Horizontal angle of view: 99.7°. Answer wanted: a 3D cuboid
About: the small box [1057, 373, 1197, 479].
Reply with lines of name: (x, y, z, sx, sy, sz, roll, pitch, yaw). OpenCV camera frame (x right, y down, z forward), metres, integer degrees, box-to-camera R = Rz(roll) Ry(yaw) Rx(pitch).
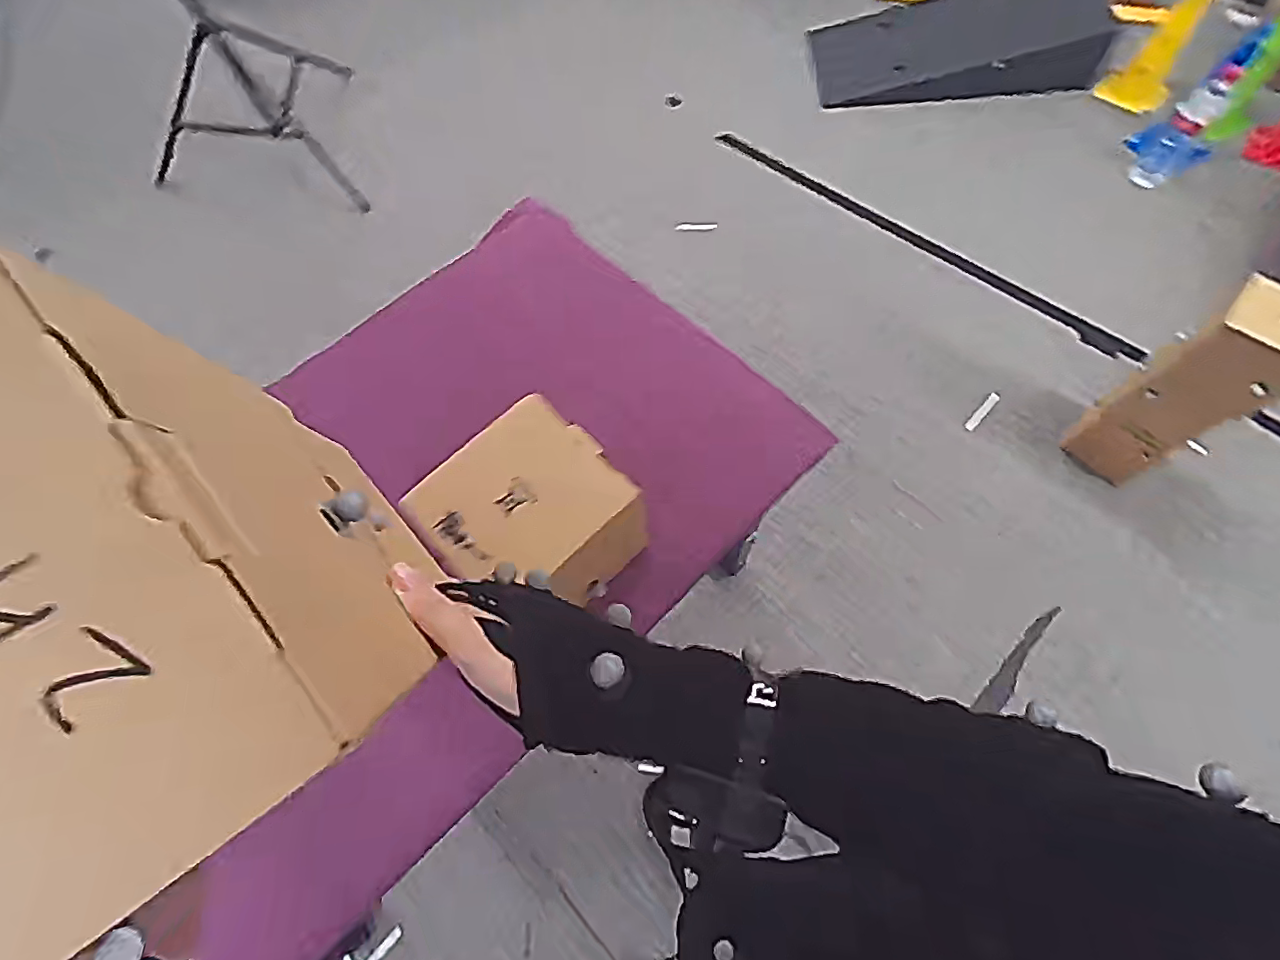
small box: (1.227, -0.131, 1.379, 0.179, 0.176, 0.168, 42, 75, 18)

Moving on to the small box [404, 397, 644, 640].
small box: (-0.111, 0.050, 0.592, 0.179, 0.176, 0.168, -42, 71, -14)

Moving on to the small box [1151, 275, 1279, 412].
small box: (1.204, -0.261, 1.079, 0.179, 0.176, 0.168, 40, 73, 18)

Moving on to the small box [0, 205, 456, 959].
small box: (-0.191, 0.055, 0.192, 0.179, 0.176, 0.168, -35, 91, -13)
